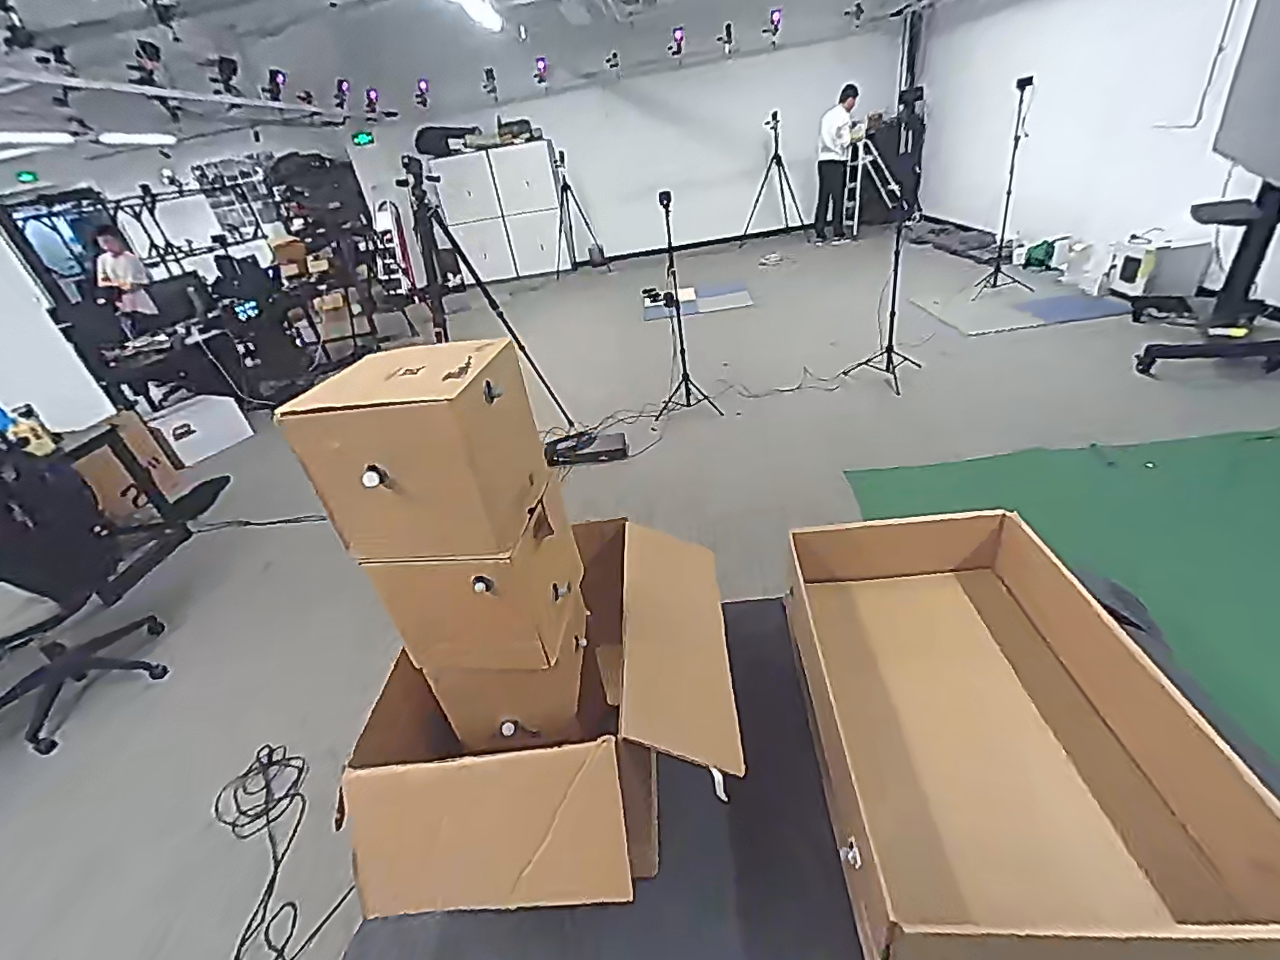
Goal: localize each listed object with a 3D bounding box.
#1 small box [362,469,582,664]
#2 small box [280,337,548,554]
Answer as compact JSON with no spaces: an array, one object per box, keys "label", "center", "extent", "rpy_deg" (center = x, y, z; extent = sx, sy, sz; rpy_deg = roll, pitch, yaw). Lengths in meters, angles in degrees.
[{"label":"small box","center":[-0.184,0.104,0.653],"extent":[0.179,0.176,0.168],"rpy_deg":[-3,33,10]},{"label":"small box","center":[-0.216,-0.036,0.571],"extent":[0.179,0.176,0.168],"rpy_deg":[-4,33,9]}]
